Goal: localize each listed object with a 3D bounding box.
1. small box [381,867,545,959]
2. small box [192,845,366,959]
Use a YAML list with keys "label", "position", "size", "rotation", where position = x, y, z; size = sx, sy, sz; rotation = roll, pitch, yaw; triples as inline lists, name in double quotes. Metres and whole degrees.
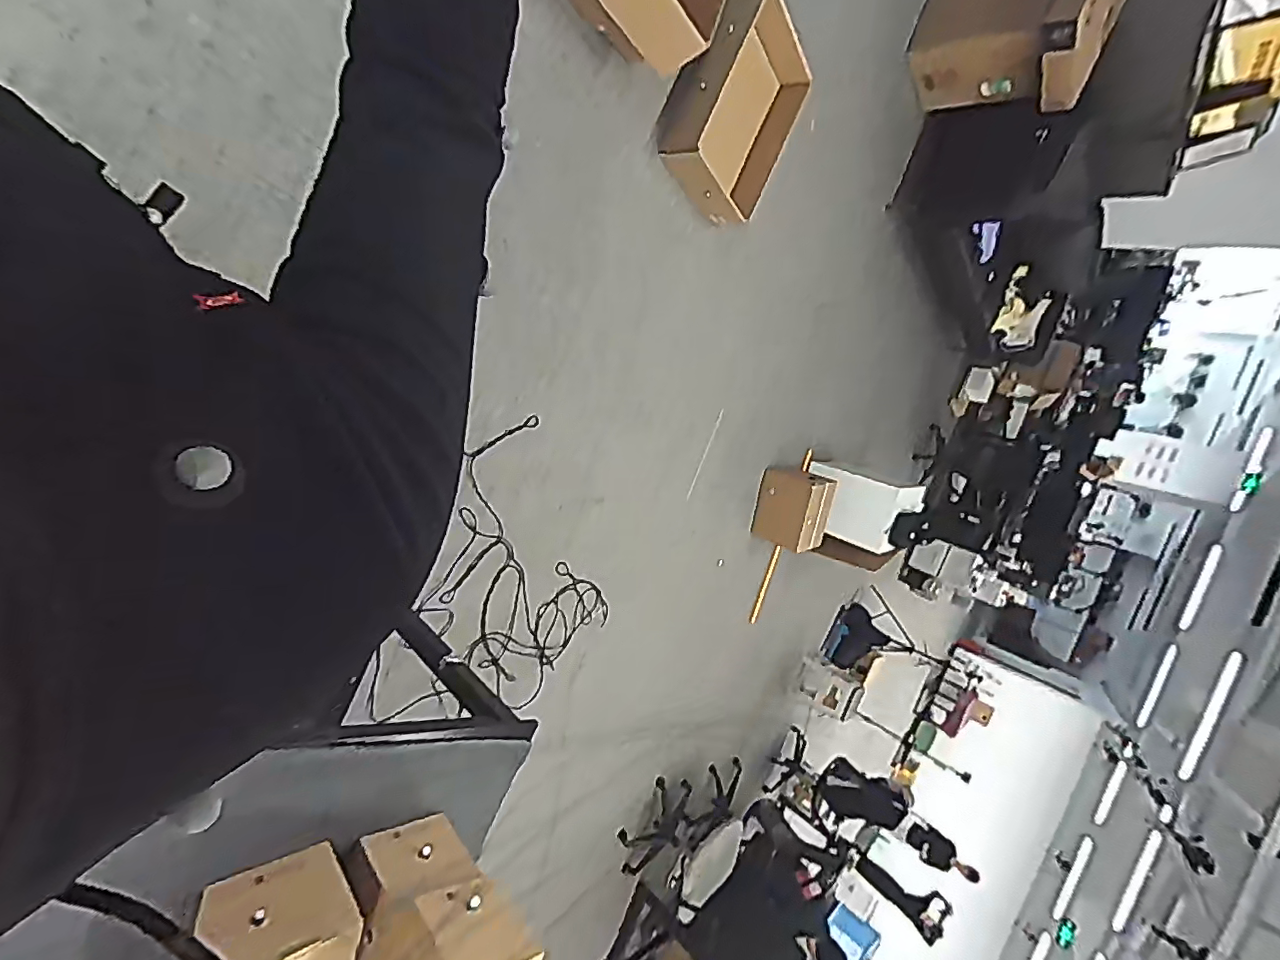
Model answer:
- label: "small box"
  position: [-0.290, 0.769, 0.854]
  size: [0.168, 0.176, 0.179]
  rotation: [29, 85, -50]
- label: "small box"
  position: [-0.538, 0.687, 0.801]
  size: [0.168, 0.176, 0.179]
  rotation: [9, 102, -49]
